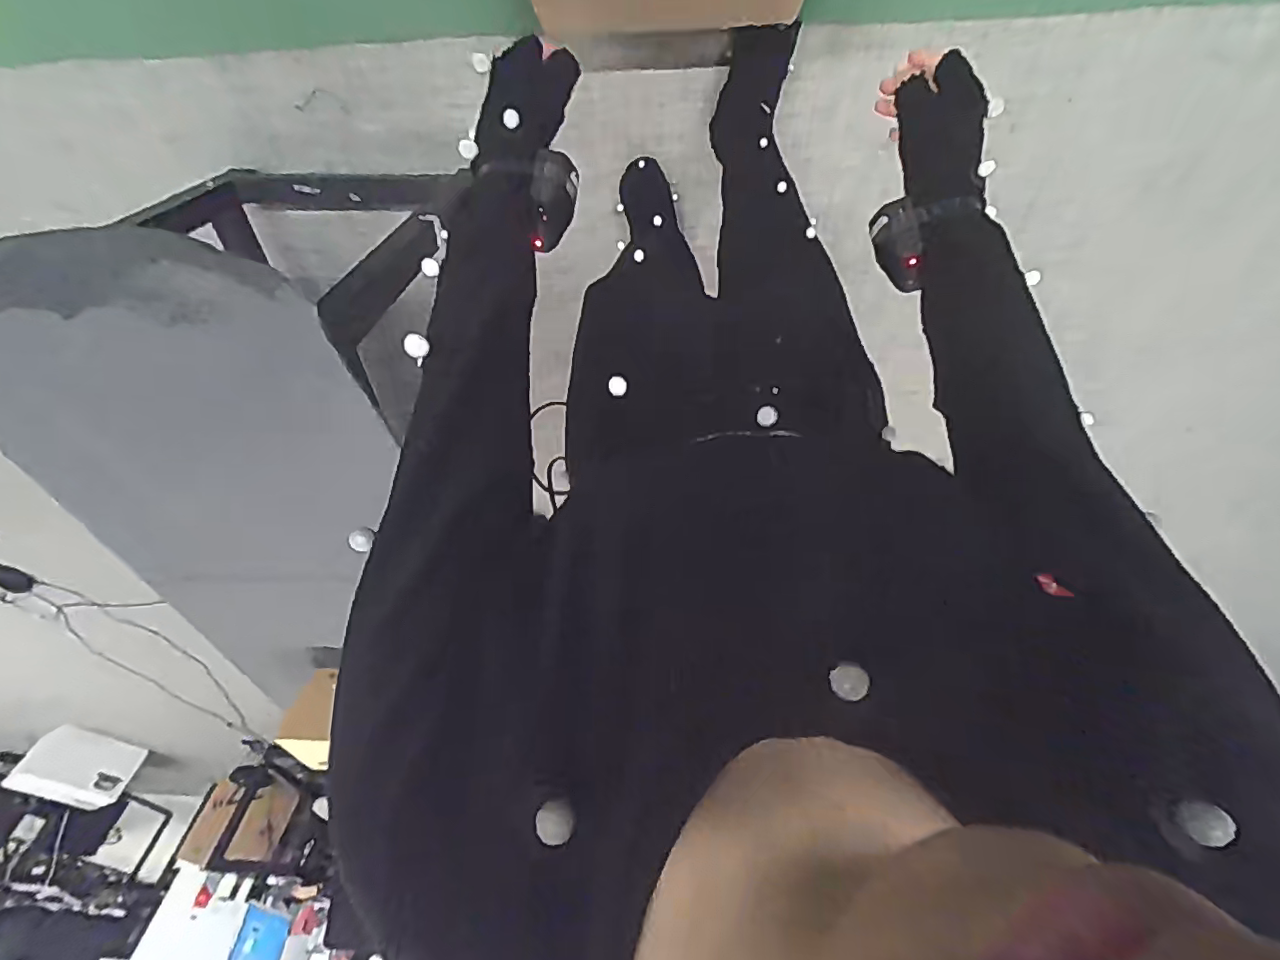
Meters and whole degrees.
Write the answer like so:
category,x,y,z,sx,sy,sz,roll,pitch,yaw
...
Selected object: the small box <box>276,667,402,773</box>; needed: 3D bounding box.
category,x,y,z,sx,sy,sz,roll,pitch,yaw
small box,-0.683,0.556,1.255,0.168,0.176,0.179,-1,132,5
